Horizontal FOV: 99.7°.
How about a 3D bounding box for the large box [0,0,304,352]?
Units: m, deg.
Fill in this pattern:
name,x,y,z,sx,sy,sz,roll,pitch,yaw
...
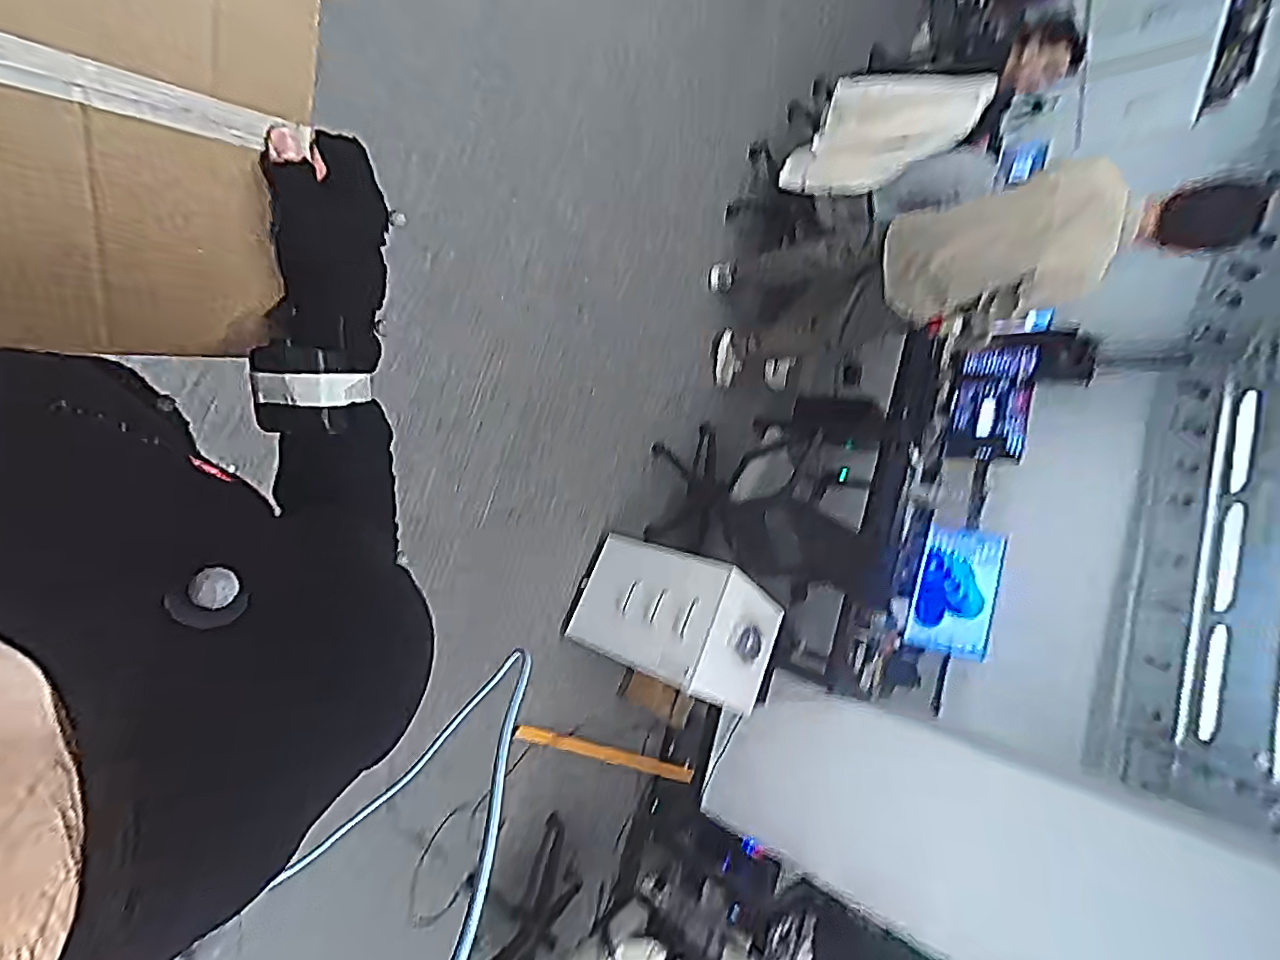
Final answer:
name,x,y,z,sx,sy,sz,roll,pitch,yaw
large box,-0.444,-0.279,0.266,0.408,0.320,0.320,-12,141,-46
